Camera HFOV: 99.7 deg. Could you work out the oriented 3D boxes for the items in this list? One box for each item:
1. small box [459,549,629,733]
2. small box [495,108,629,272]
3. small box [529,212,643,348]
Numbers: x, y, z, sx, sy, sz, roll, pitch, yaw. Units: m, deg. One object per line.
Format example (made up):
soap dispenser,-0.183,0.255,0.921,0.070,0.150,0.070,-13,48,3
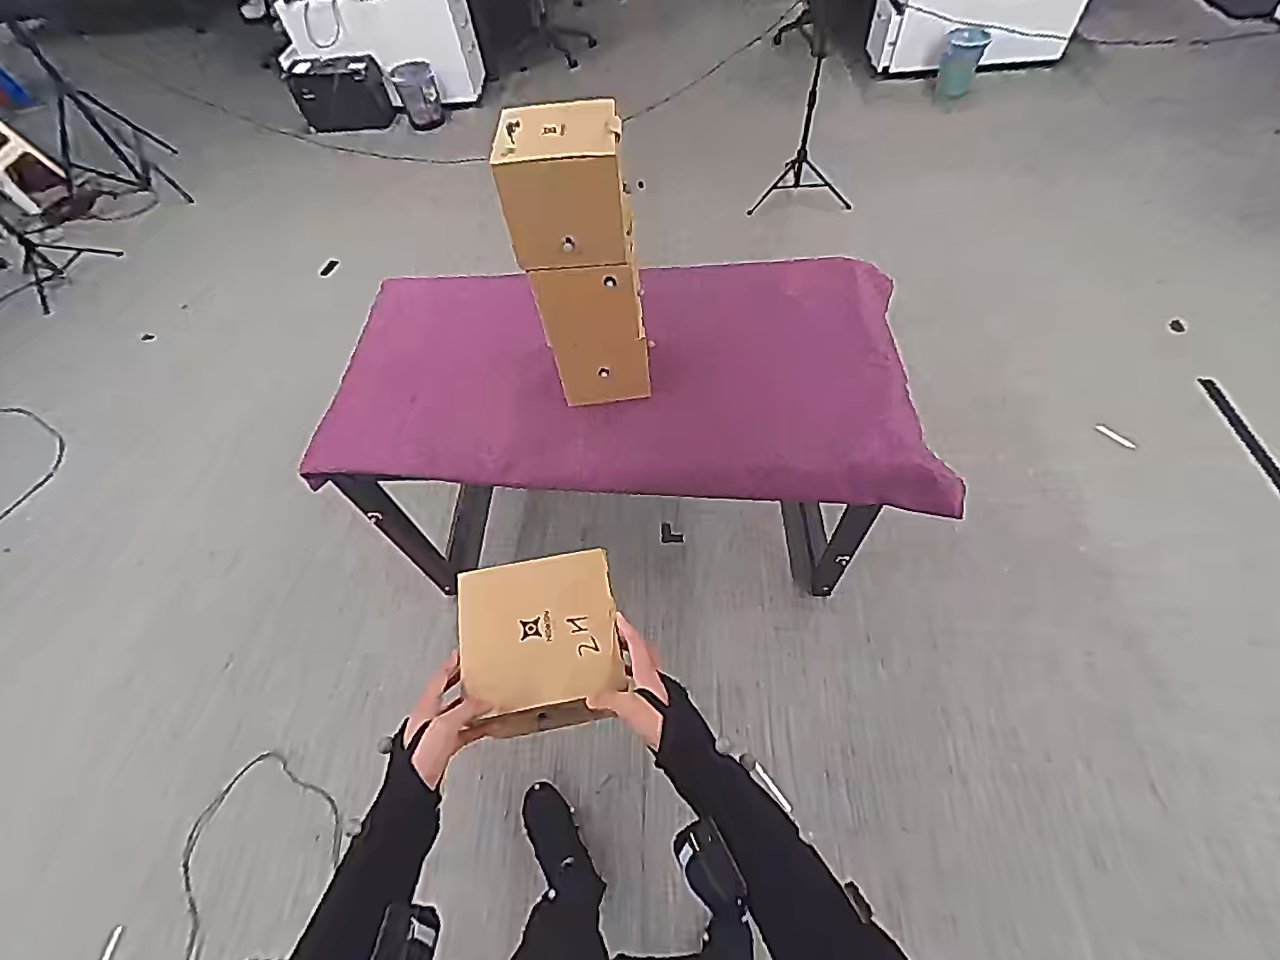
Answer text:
small box,-0.112,0.204,0.668,0.179,0.176,0.168,-8,60,-6
small box,-0.107,-0.443,0.838,0.179,0.176,0.168,-2,56,2
small box,-0.088,-0.355,0.976,0.179,0.176,0.168,-3,56,2
